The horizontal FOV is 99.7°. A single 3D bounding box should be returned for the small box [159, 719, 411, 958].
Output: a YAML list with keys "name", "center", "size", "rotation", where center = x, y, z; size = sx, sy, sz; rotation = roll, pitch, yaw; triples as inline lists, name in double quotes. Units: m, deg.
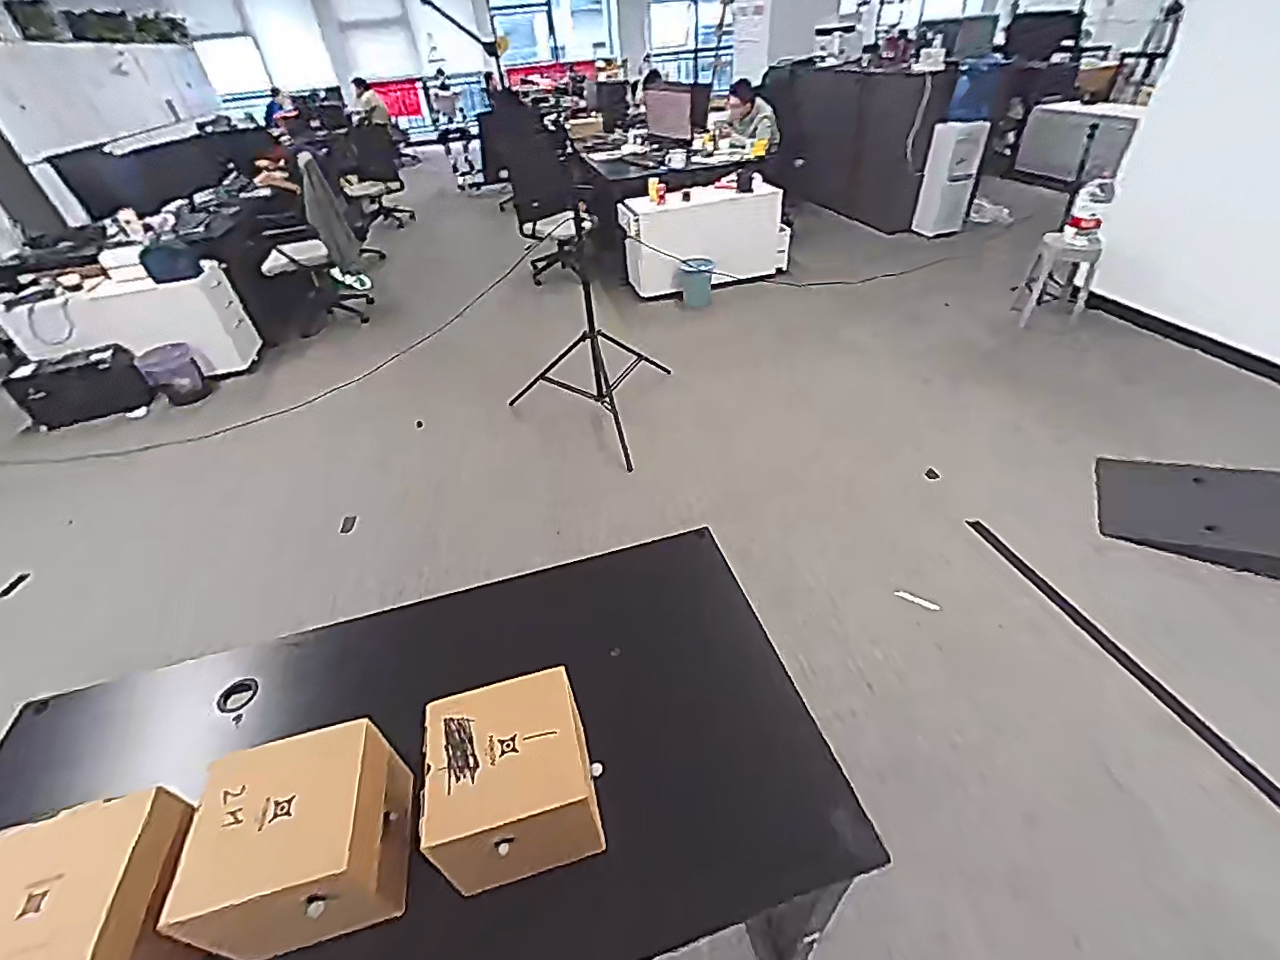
- name: "small box"
  center: [-0.385, 0.417, 0.632]
  size: [0.179, 0.176, 0.168]
  rotation: [-13, 40, -8]

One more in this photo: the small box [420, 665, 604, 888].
- name: "small box"
  center: [-0.152, 0.365, 0.666]
  size: [0.179, 0.176, 0.168]
  rotation: [-13, 40, -9]

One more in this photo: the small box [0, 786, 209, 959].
- name: "small box"
  center: [-0.591, 0.477, 0.587]
  size: [0.168, 0.176, 0.179]
  rotation: [-15, 41, -9]
